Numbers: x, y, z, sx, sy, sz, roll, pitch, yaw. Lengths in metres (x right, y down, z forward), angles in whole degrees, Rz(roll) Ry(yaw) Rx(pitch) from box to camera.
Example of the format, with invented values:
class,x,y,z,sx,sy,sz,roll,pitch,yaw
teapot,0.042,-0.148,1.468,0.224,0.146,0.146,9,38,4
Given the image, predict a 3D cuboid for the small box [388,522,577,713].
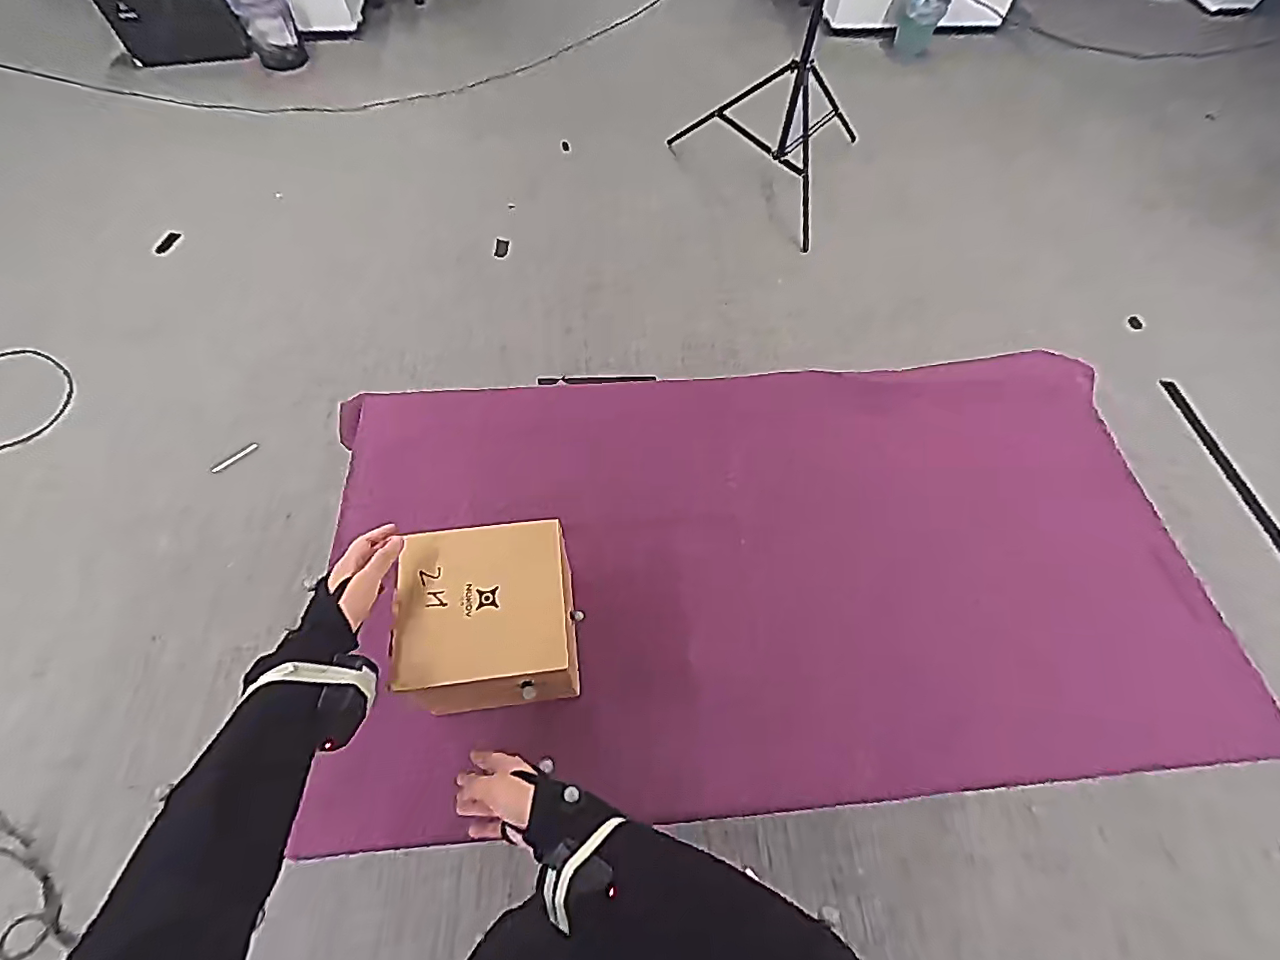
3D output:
class,x,y,z,sx,sy,sz,roll,pitch,yaw
small box,-0.165,0.163,0.626,0.179,0.176,0.168,-6,59,-5
